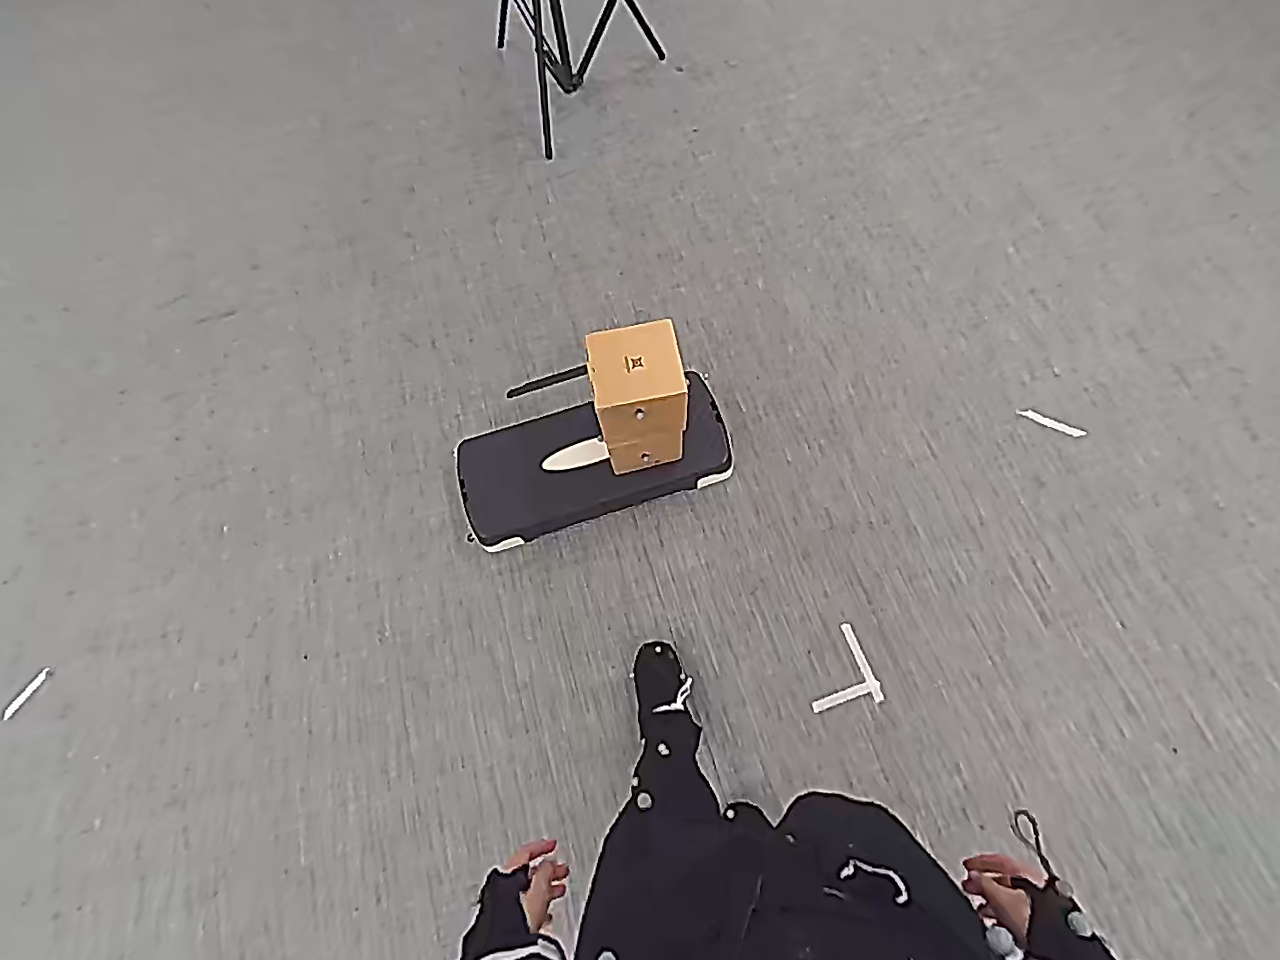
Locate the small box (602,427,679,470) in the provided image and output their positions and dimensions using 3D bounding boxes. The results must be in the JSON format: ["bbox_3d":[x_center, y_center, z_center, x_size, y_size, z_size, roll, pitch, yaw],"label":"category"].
[{"bbox_3d":[-0.006,-0.134,1.243,0.168,0.176,0.179,-13,70,-1],"label":"small box"}]

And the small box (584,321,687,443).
[{"bbox_3d":[-0.007,-0.191,1.090,0.179,0.176,0.168,-11,71,1],"label":"small box"}]
